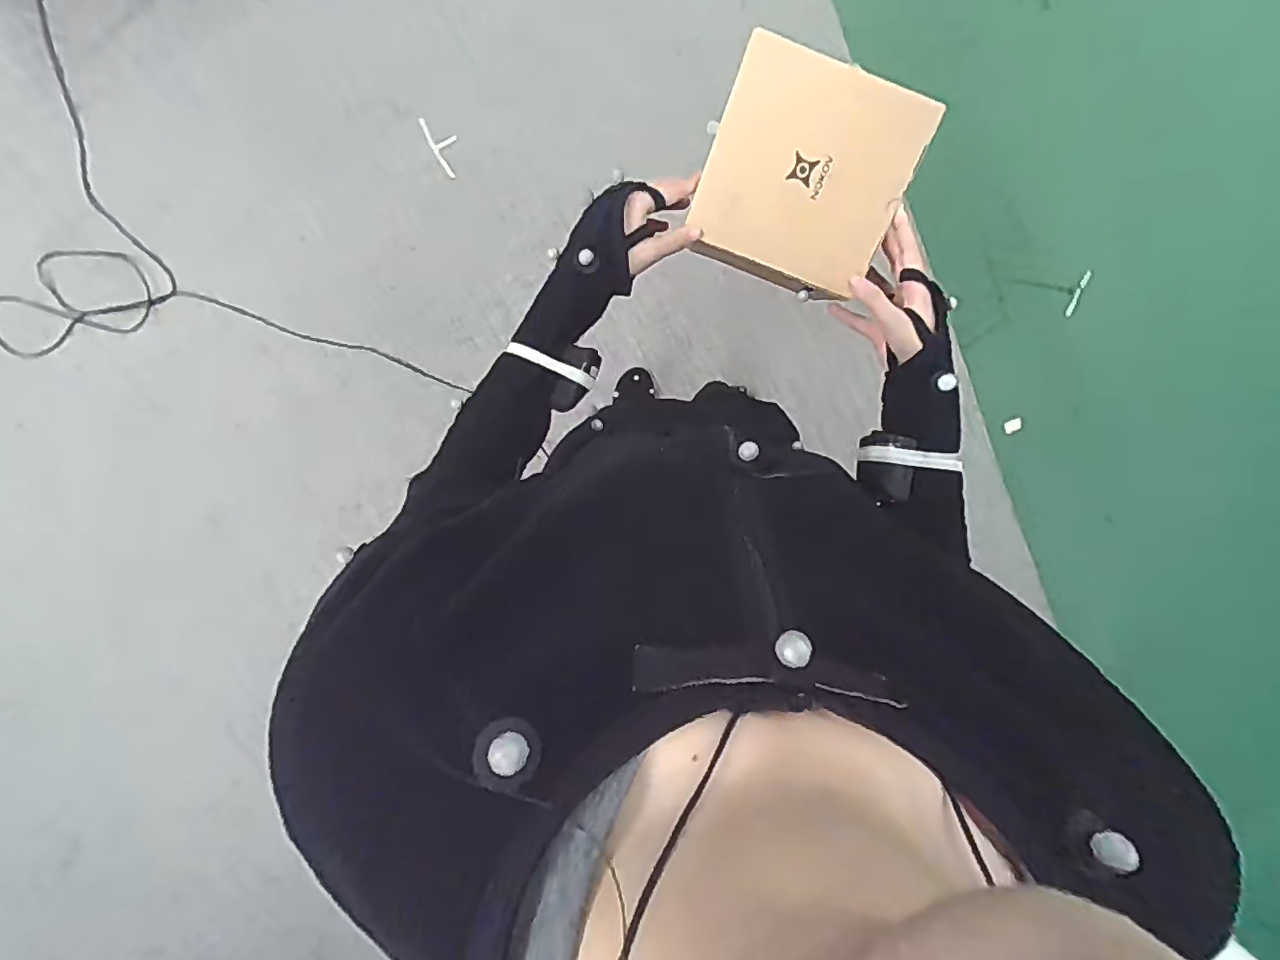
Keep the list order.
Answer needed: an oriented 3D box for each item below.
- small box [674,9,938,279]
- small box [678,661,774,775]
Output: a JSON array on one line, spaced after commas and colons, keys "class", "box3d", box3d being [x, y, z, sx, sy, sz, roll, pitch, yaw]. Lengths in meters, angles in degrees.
[{"class": "small box", "box3d": [0.144, -0.308, 0.541, 0.179, 0.176, 0.168, 19, 110, -2]}, {"class": "small box", "box3d": [0.204, 0.575, 1.336, 0.168, 0.176, 0.179, -25, 102, 3]}]
